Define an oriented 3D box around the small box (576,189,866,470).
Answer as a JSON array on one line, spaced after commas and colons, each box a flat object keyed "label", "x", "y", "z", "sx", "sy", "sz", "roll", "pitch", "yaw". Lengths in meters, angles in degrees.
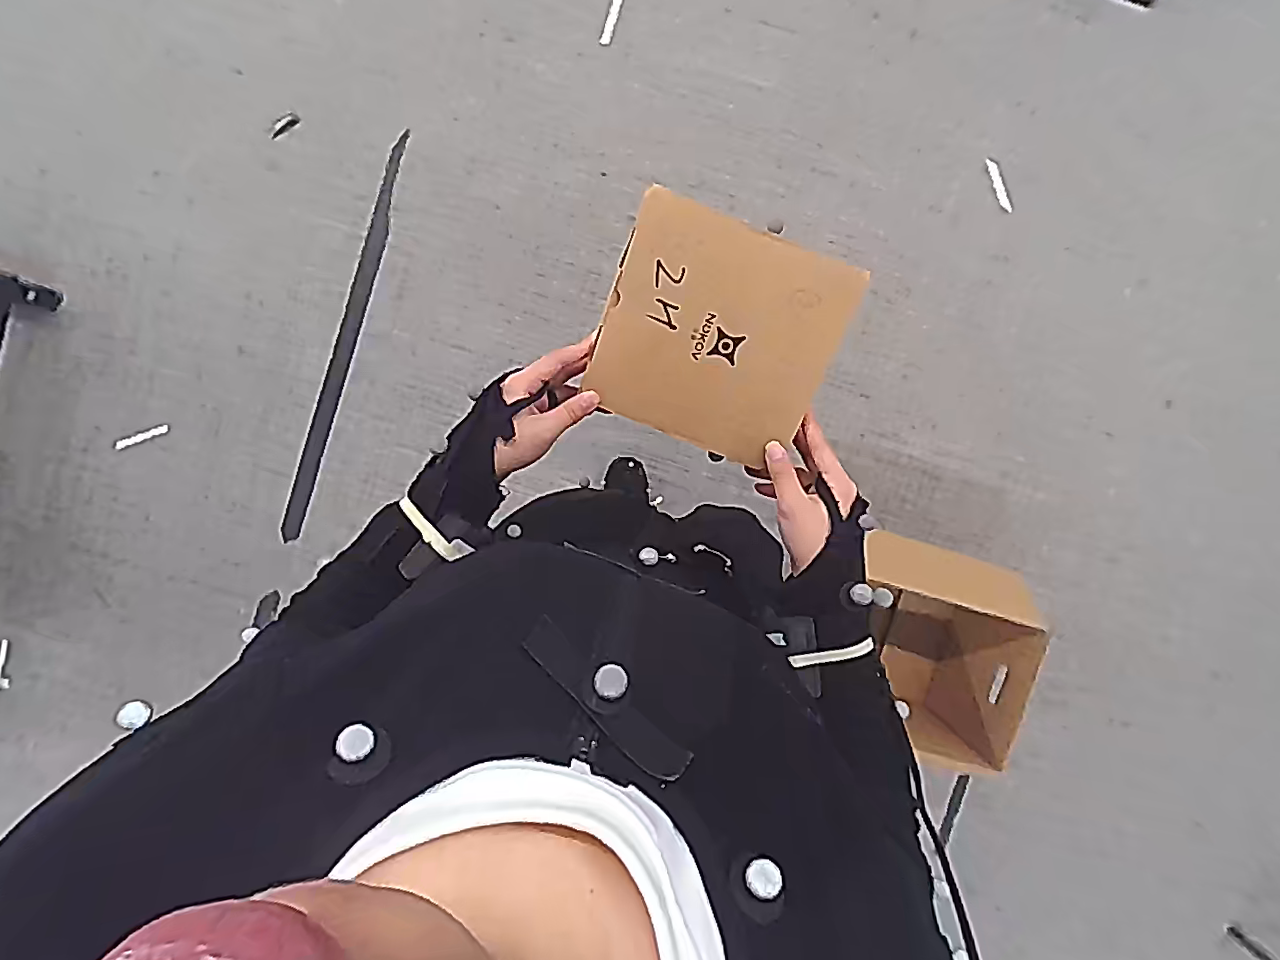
[{"label": "small box", "x": 0.064, "y": -0.135, "z": 0.487, "sx": 0.179, "sy": 0.176, "sz": 0.168, "roll": 21, "pitch": 110, "yaw": -1}]
